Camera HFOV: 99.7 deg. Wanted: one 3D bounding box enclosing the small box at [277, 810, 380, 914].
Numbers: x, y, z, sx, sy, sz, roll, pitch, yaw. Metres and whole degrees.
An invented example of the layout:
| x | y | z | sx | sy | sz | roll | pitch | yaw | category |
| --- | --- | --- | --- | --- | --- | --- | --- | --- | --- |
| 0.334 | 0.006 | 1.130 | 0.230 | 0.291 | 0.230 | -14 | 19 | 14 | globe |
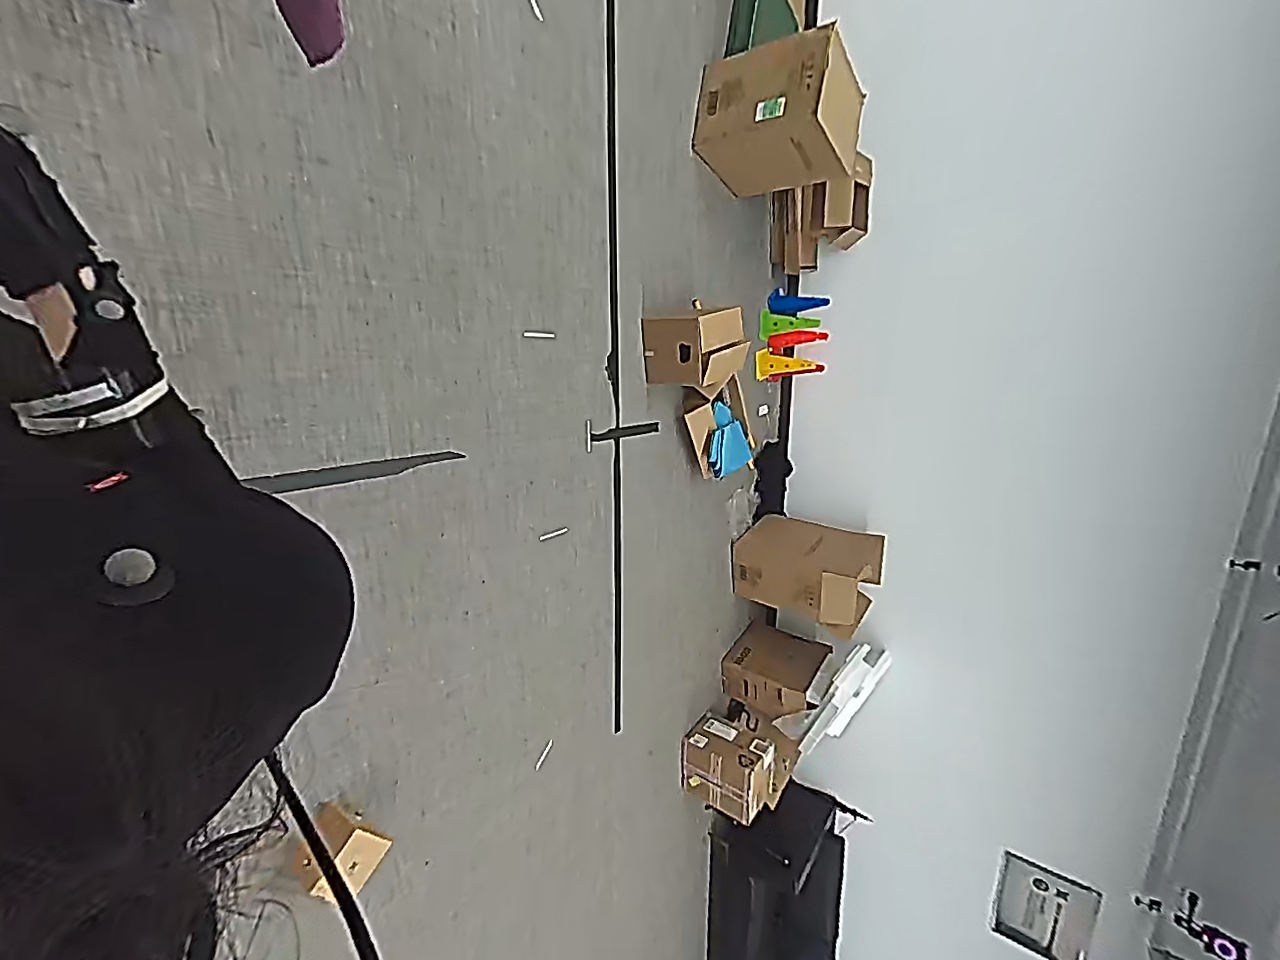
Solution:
| x | y | z | sx | sy | sz | roll | pitch | yaw | category |
| --- | --- | --- | --- | --- | --- | --- | --- | --- | --- |
| -0.908 | 1.102 | 1.565 | 0.179 | 0.176 | 0.168 | -57 | 140 | -31 | small box |
